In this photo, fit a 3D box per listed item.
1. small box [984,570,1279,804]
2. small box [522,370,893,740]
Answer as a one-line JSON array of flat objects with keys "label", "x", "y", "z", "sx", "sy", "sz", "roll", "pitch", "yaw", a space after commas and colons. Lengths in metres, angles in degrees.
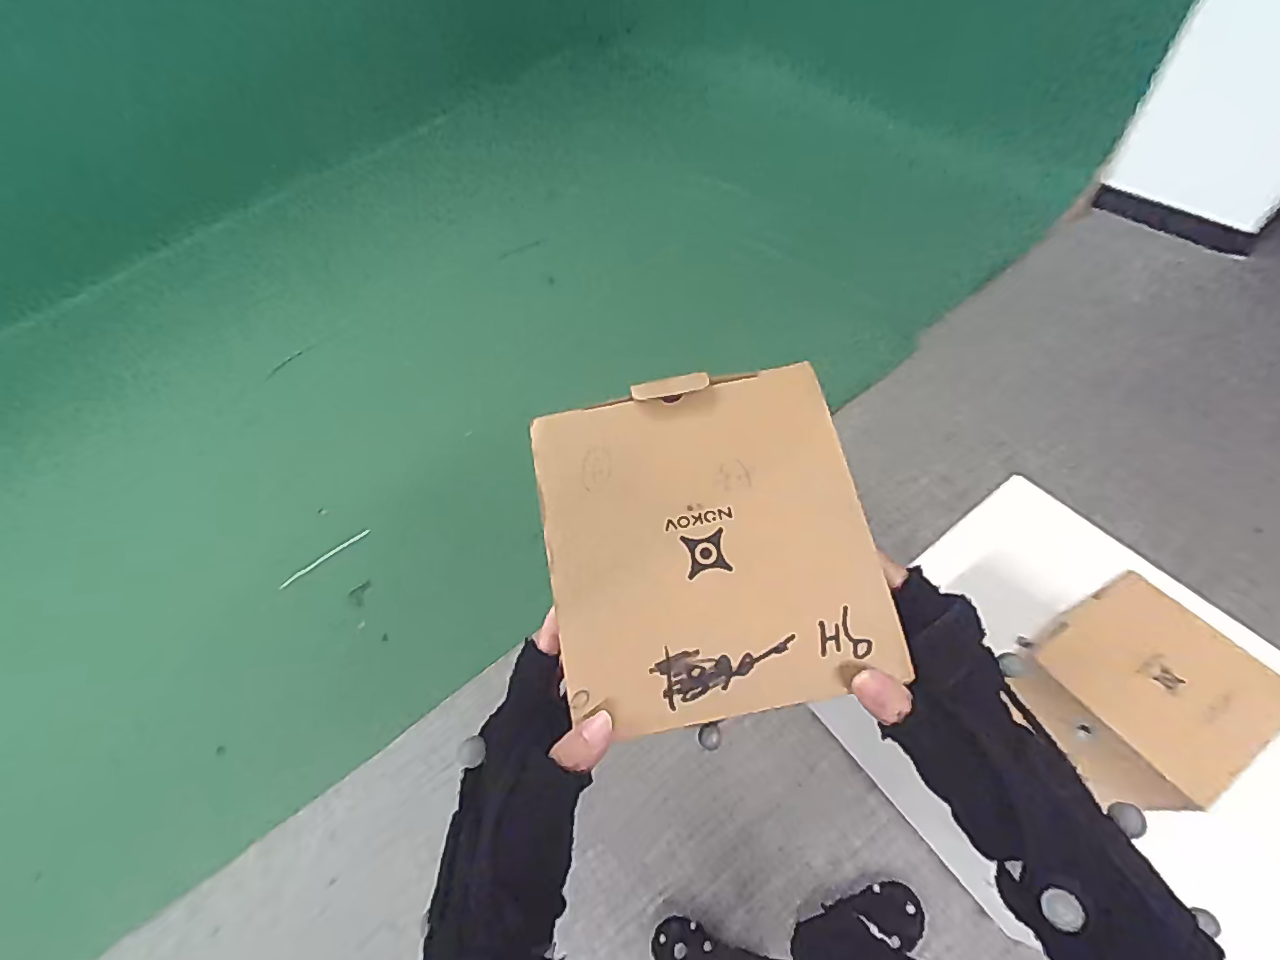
[{"label": "small box", "x": 0.543, "y": 0.241, "z": 0.618, "sx": 0.168, "sy": 0.176, "sz": 0.179, "roll": -34, "pitch": 59, "yaw": -9}, {"label": "small box", "x": 0.032, "y": 0.057, "z": 0.369, "sx": 0.168, "sy": 0.176, "sz": 0.179, "roll": -15, "pitch": 71, "yaw": -1}]
